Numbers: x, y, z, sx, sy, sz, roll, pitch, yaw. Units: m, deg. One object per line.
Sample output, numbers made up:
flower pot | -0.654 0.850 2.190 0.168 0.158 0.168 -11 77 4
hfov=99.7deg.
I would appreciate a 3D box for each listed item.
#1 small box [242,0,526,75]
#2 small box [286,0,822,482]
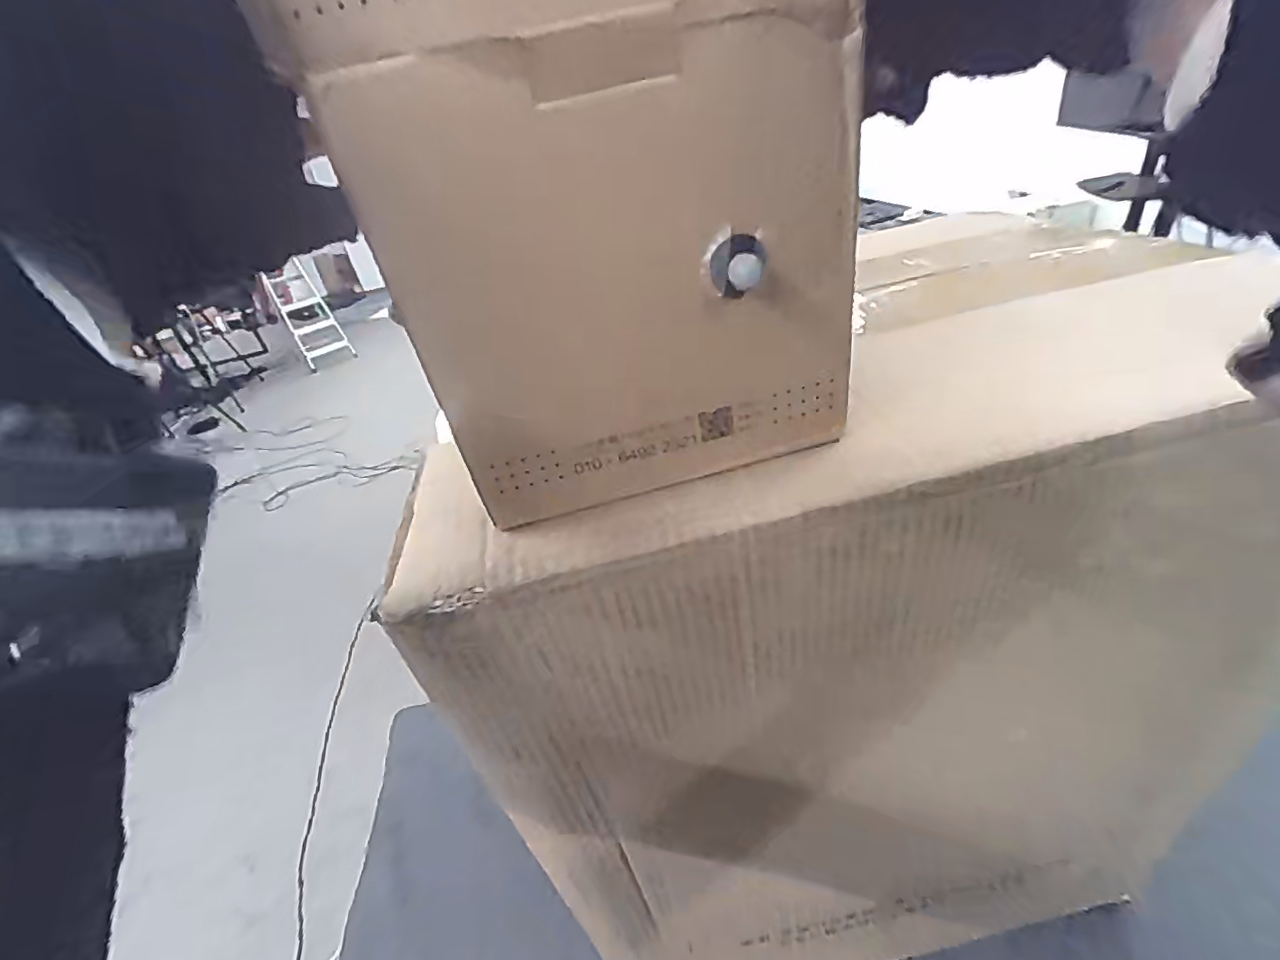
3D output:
small box | -0.056 -0.239 0.187 0.168 0.176 0.179 -12 38 0
small box | -0.024 -0.117 0.264 0.168 0.176 0.179 -18 37 -5
